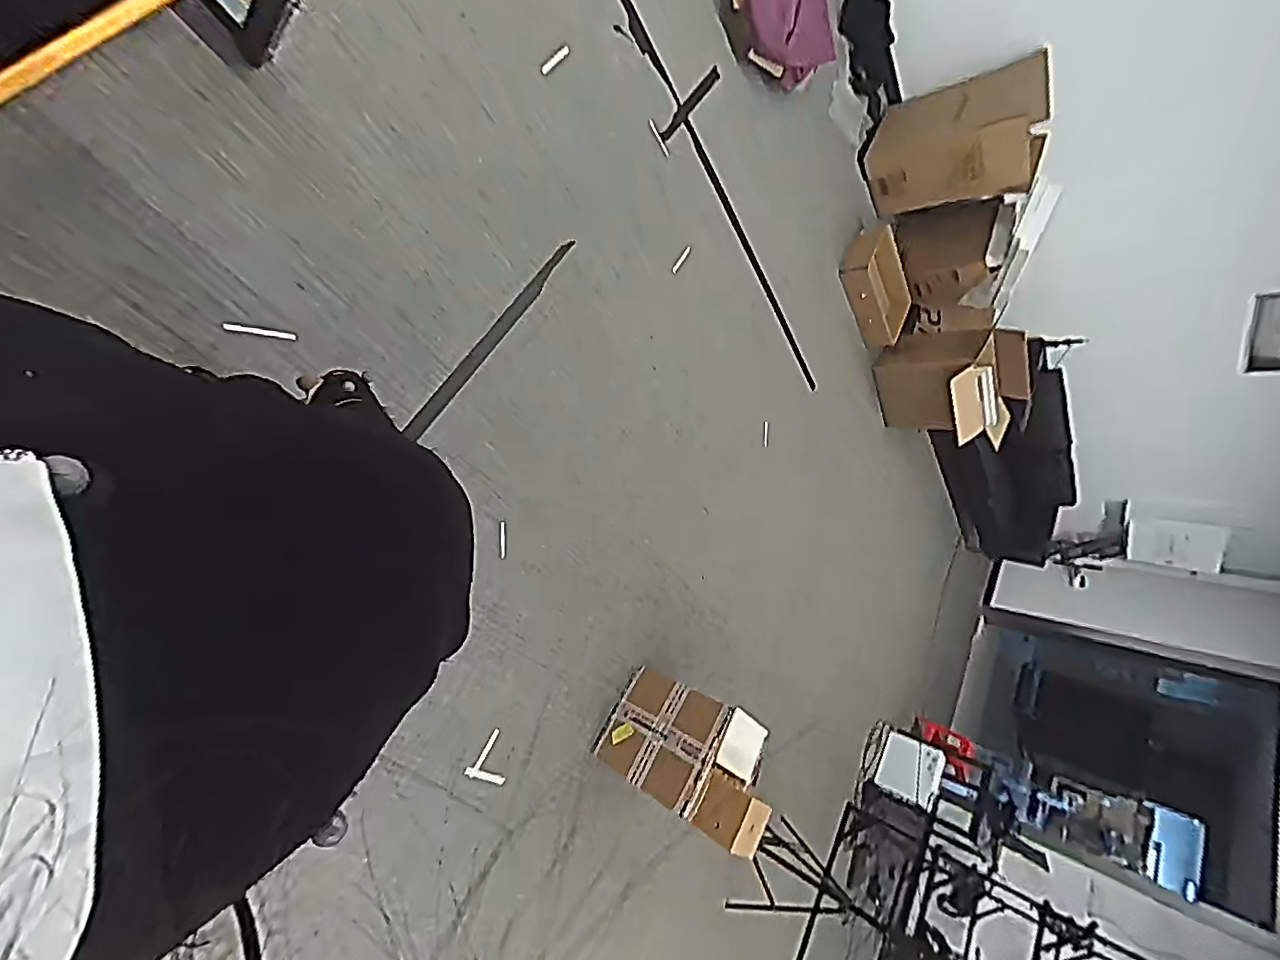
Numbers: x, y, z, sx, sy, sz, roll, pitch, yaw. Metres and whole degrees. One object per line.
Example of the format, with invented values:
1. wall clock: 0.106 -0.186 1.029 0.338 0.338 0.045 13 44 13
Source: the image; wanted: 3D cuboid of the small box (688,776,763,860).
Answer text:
1. small box: 0.291 1.171 1.876 0.168 0.176 0.179 46 64 -38
